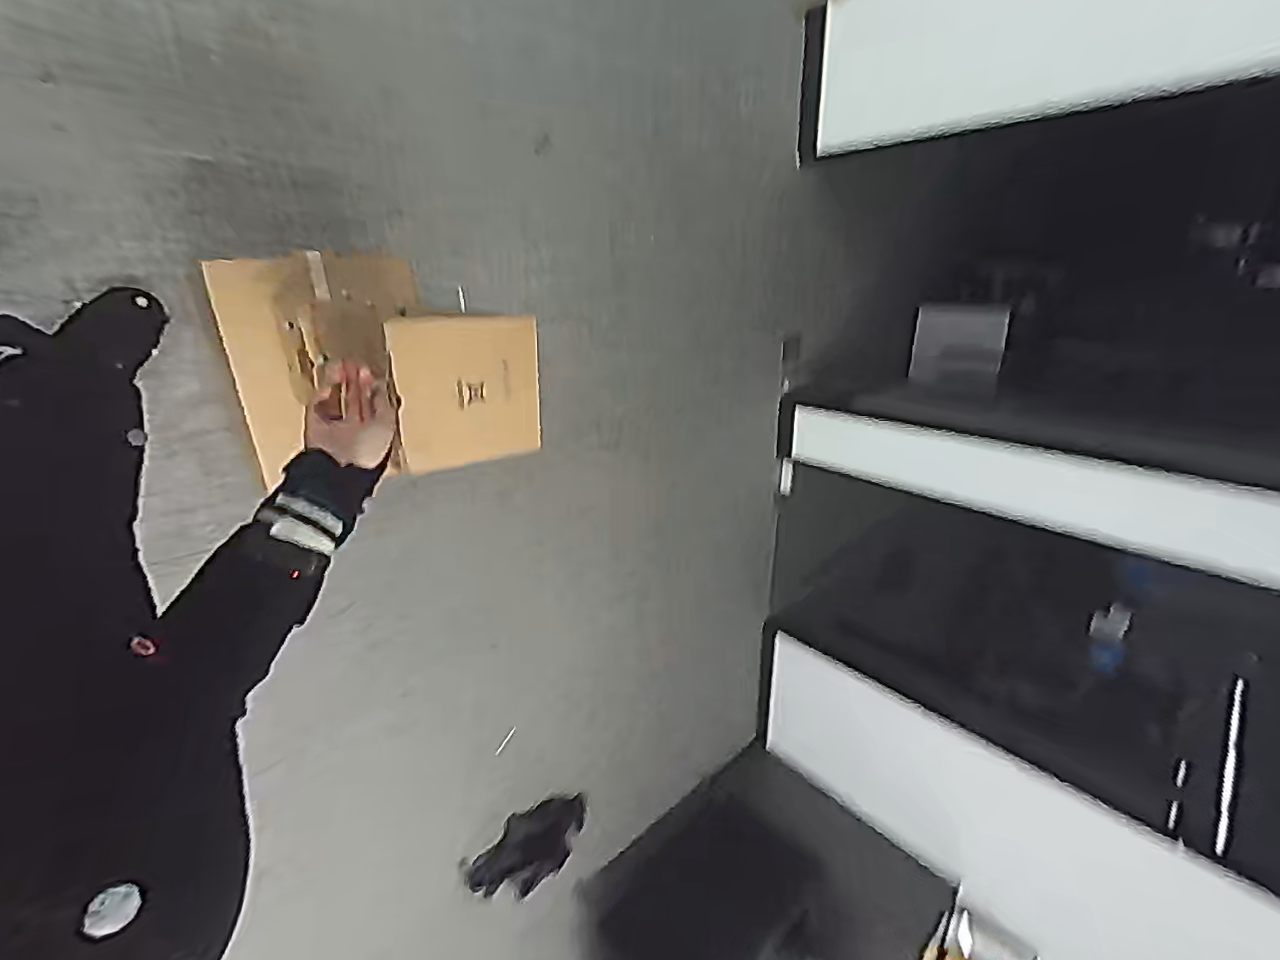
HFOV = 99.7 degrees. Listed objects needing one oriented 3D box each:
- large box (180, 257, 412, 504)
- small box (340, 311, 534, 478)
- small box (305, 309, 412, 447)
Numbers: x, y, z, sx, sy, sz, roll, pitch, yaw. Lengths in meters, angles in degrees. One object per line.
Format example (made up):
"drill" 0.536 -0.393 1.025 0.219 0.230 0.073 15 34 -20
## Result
"large box" -0.641 -0.220 1.068 0.320 0.320 0.408 -18 119 -37
"small box" -0.250 -0.115 0.665 0.179 0.176 0.168 -16 118 -40
"small box" -0.357 -0.155 0.781 0.179 0.176 0.168 -13 115 -41
